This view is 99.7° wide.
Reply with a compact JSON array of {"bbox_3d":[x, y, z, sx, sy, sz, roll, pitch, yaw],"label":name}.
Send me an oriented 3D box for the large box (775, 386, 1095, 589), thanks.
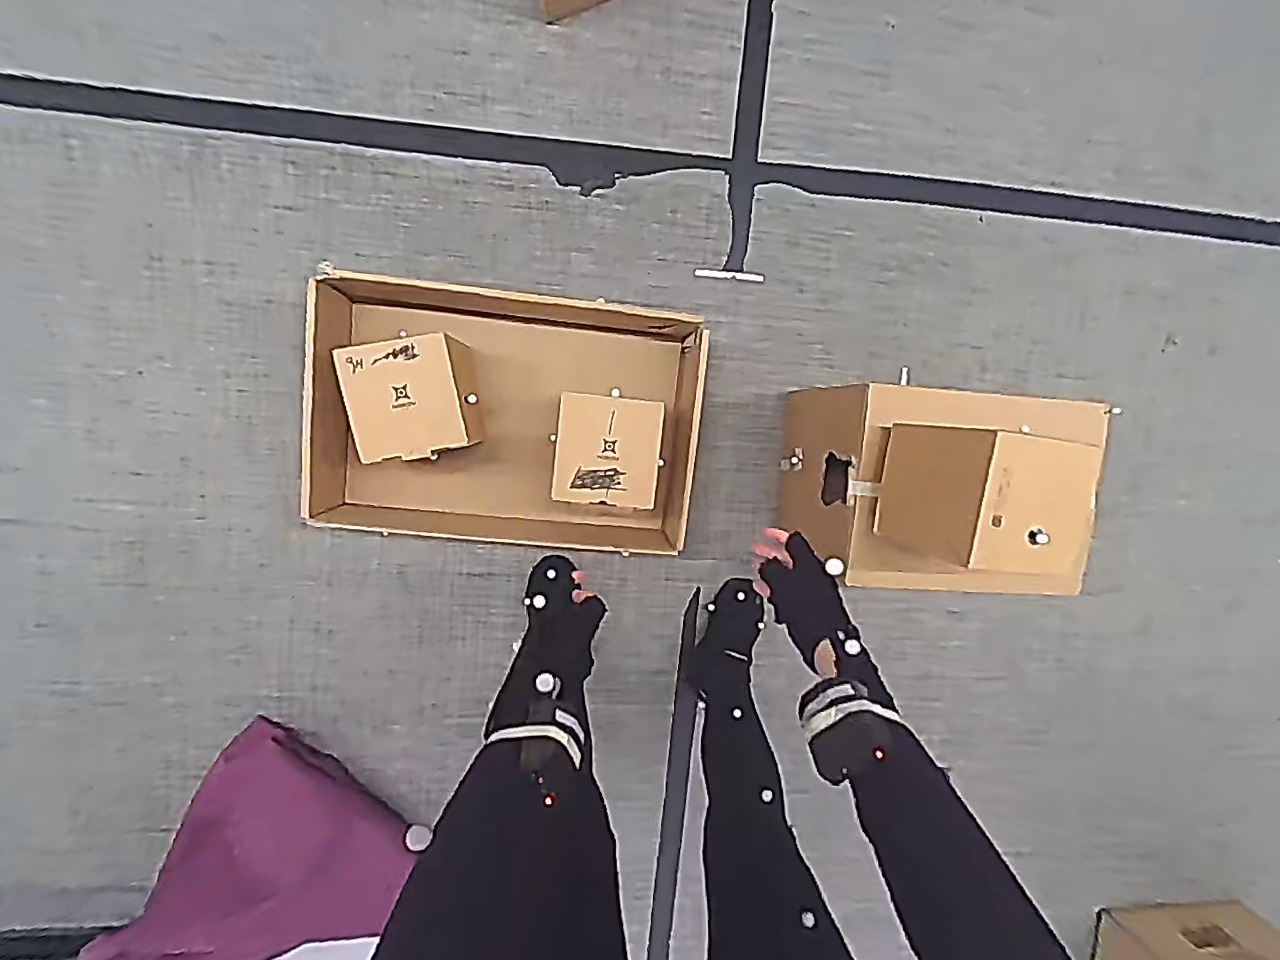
[{"bbox_3d":[0.497,0.003,0.992,0.408,0.320,0.320,3,97,-7],"label":"large box"}]
